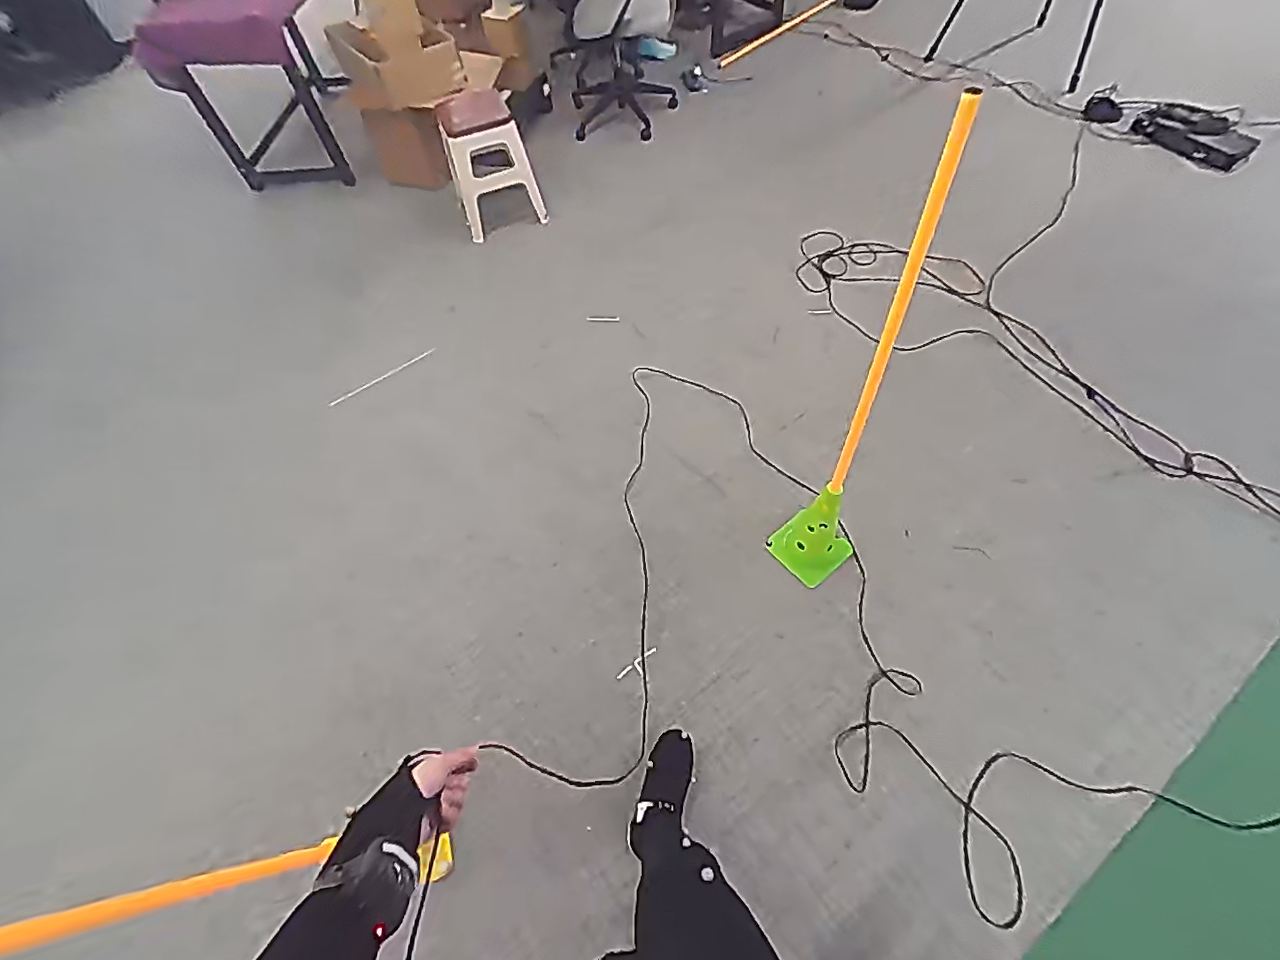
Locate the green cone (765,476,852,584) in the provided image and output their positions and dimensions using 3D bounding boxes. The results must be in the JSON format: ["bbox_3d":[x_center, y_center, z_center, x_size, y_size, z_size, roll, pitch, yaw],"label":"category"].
[{"bbox_3d":[0.504,0.105,1.507,0.202,0.368,0.200,-37,63,-18],"label":"green cone"}]
